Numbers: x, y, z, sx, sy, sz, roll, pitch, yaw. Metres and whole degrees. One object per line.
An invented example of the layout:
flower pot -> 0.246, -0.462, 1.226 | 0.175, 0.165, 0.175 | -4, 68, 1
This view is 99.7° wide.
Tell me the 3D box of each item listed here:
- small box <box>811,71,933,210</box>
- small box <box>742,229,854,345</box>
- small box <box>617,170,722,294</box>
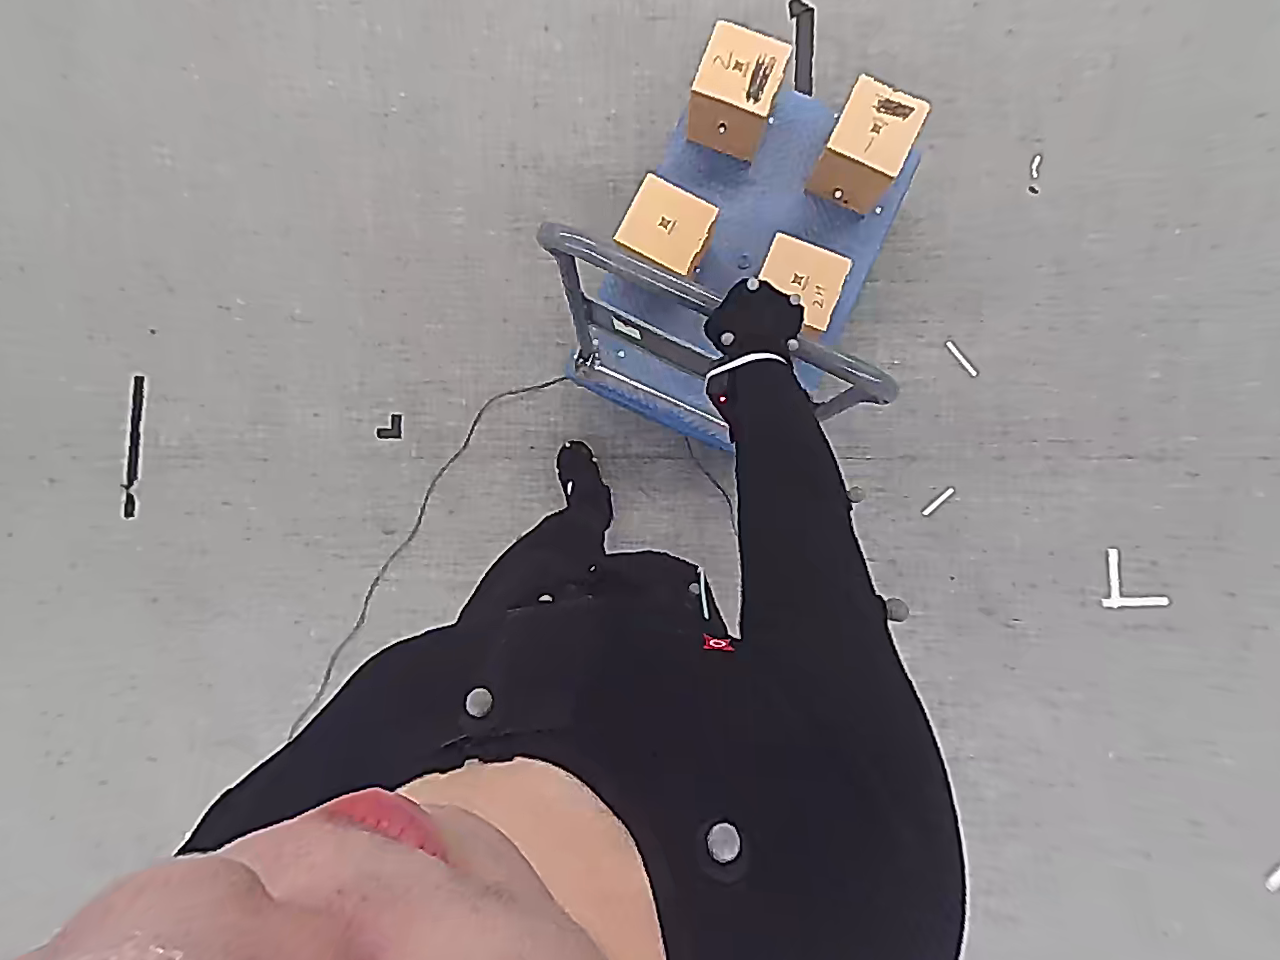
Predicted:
small box -> 0.513, -0.758, 1.226 | 0.168, 0.176, 0.179 | 26, 91, 1
small box -> 0.346, -0.425, 1.223 | 0.179, 0.176, 0.168 | 22, 90, 2
small box -> 0.062, -0.551, 1.230 | 0.179, 0.176, 0.168 | 27, 89, 0
